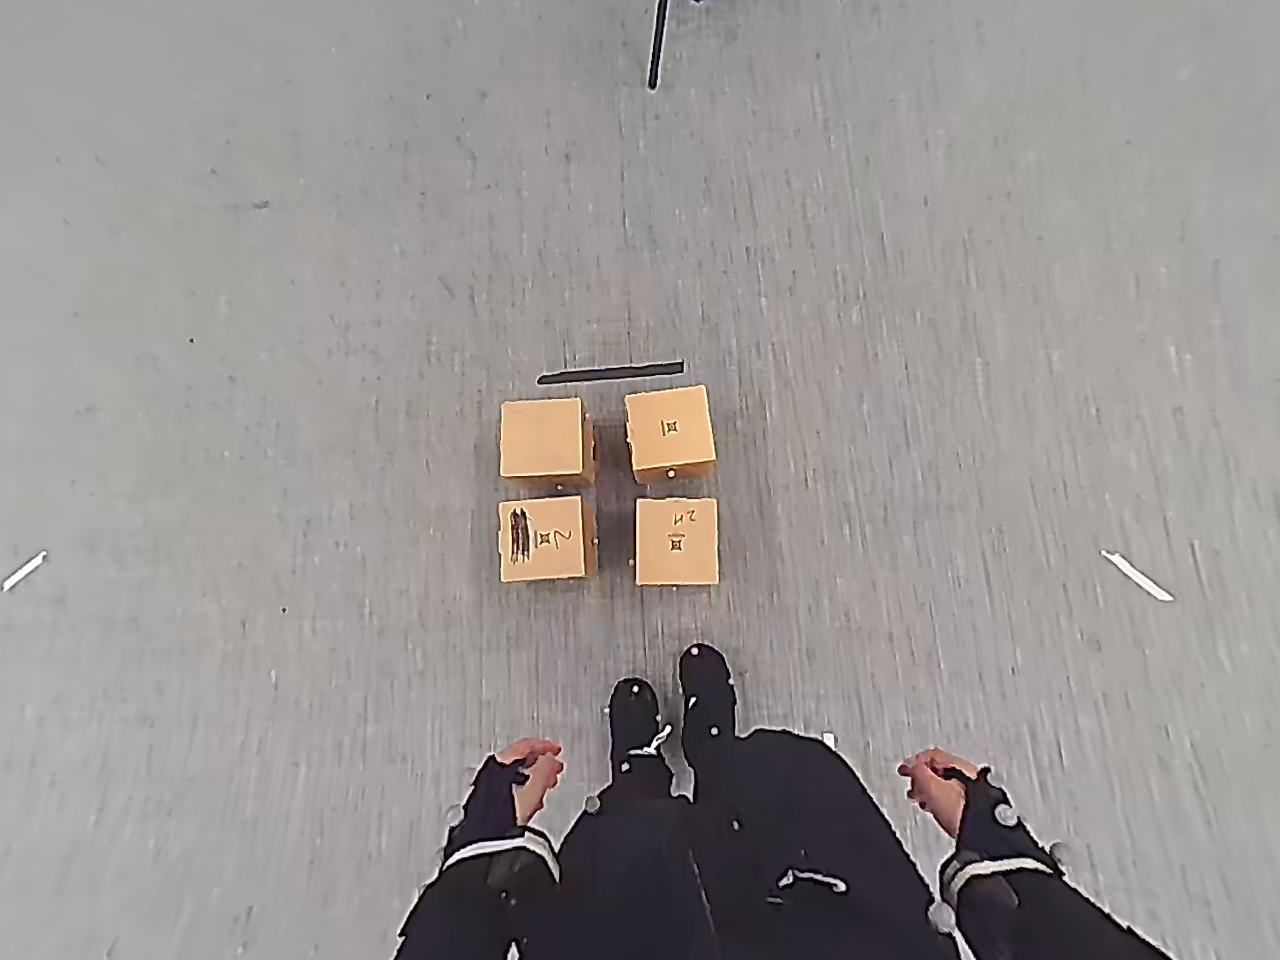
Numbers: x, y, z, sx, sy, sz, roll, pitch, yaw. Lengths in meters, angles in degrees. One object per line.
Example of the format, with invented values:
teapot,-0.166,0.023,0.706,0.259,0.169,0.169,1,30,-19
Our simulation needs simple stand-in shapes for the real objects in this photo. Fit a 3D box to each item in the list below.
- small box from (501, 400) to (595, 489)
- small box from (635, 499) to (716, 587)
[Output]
small box,-0.203,-0.075,1.222,0.179,0.176,0.168,-2,79,3
small box,0.078,0.138,1.168,0.168,0.176,0.179,0,80,3
